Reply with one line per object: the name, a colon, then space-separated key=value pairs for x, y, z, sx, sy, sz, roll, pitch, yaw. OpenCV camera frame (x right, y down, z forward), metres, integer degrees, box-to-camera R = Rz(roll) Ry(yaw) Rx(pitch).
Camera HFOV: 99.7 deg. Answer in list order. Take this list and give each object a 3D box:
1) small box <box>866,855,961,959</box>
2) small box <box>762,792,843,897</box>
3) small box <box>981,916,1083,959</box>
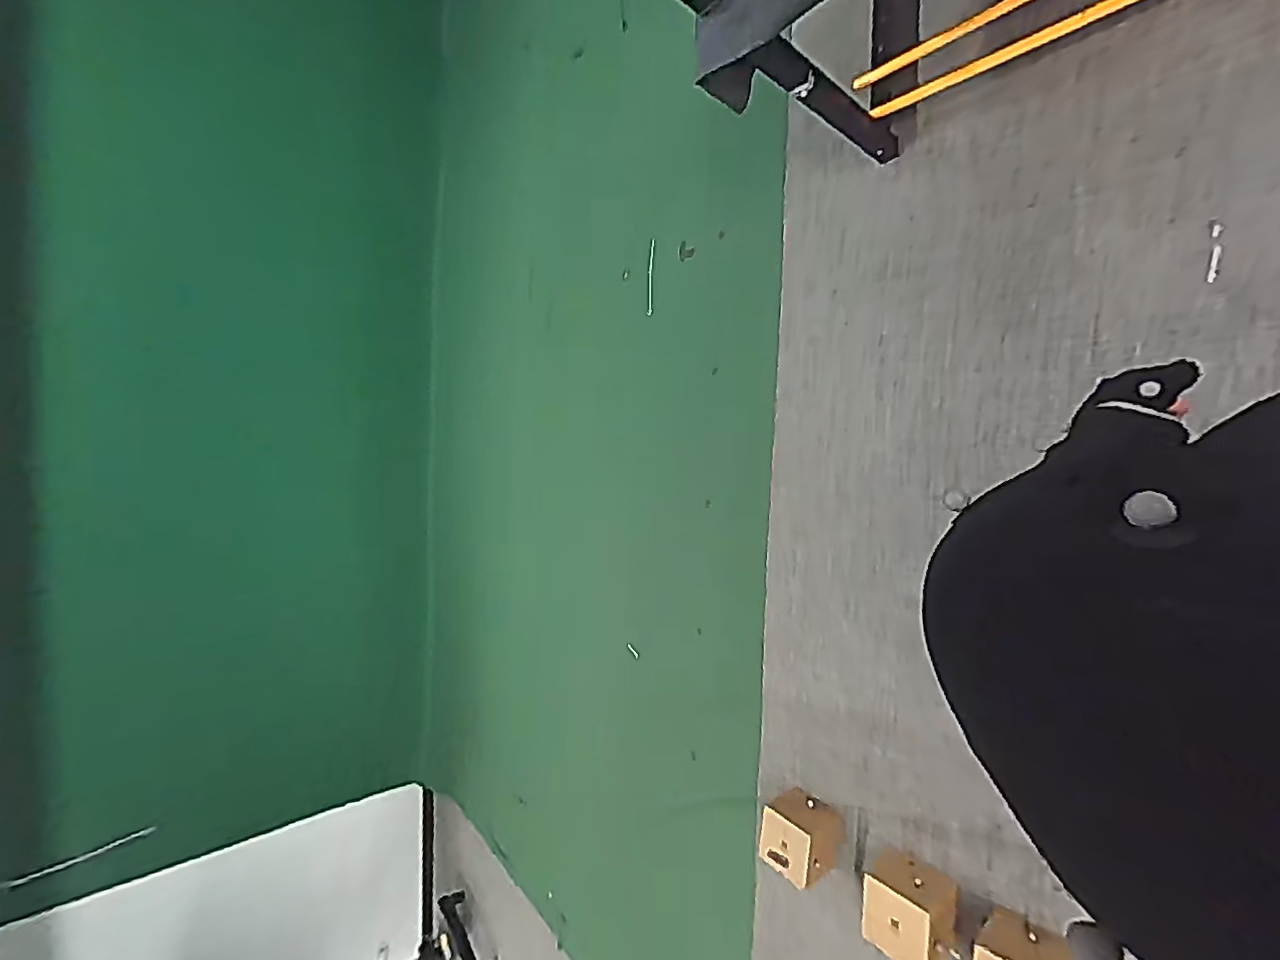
small box: x=0.702 y=1.116 z=1.384 sx=0.168 sy=0.176 sz=0.179 roll=4 pitch=94 yaw=50
small box: x=0.493 y=1.091 z=1.633 sx=0.168 sy=0.176 sz=0.179 roll=11 pitch=96 yaw=50
small box: x=0.863 y=1.127 z=1.186 sx=0.168 sy=0.176 sz=0.179 roll=6 pitch=94 yaw=49
